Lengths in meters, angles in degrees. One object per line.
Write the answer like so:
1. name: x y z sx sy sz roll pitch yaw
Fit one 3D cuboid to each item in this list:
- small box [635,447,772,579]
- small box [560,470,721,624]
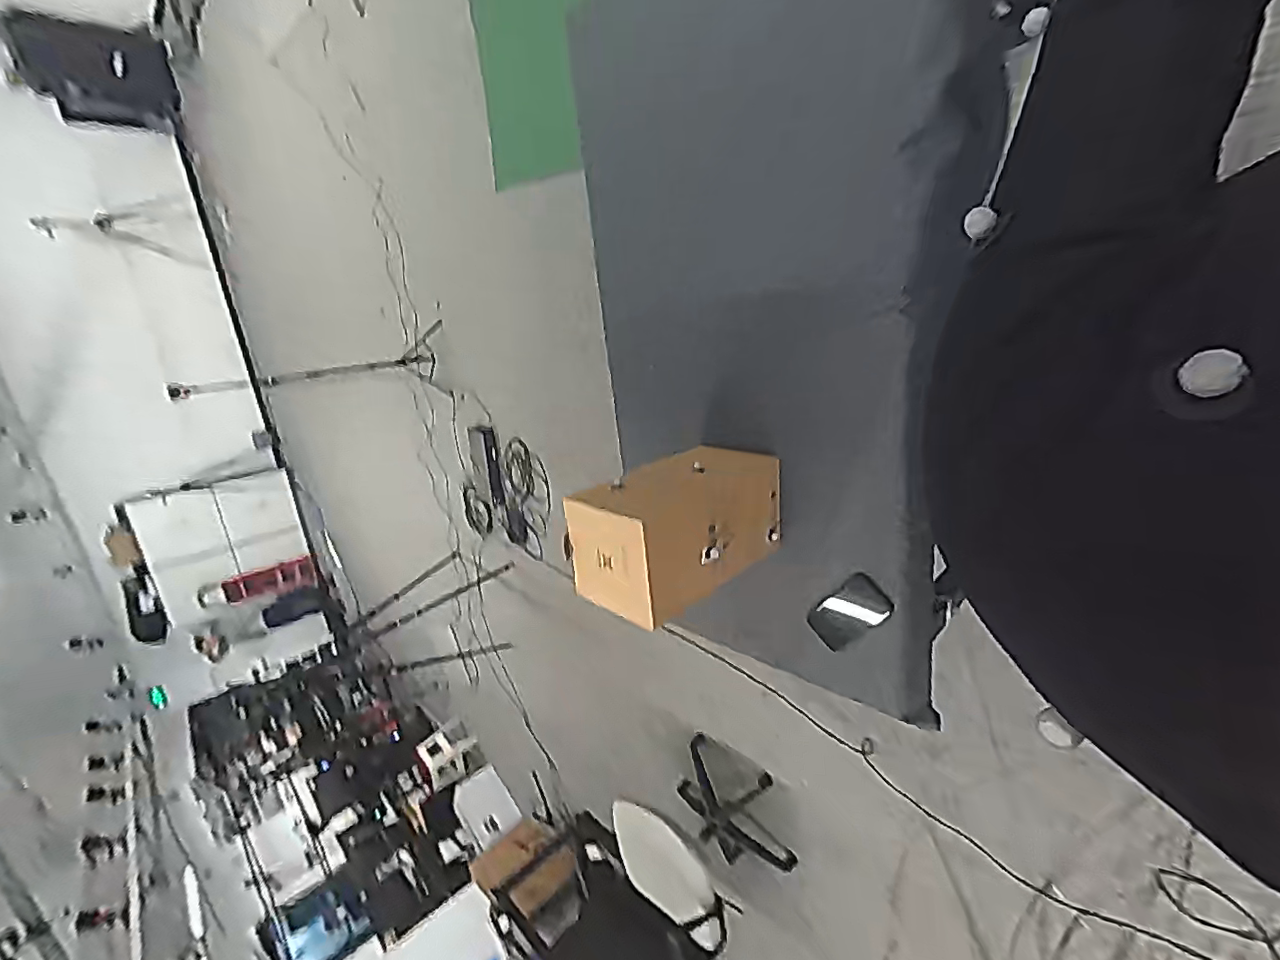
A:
1. small box: 0.116 0.045 0.942 0.179 0.176 0.168 13 115 45
2. small box: 0.004 0.089 0.833 0.179 0.176 0.168 11 114 44
